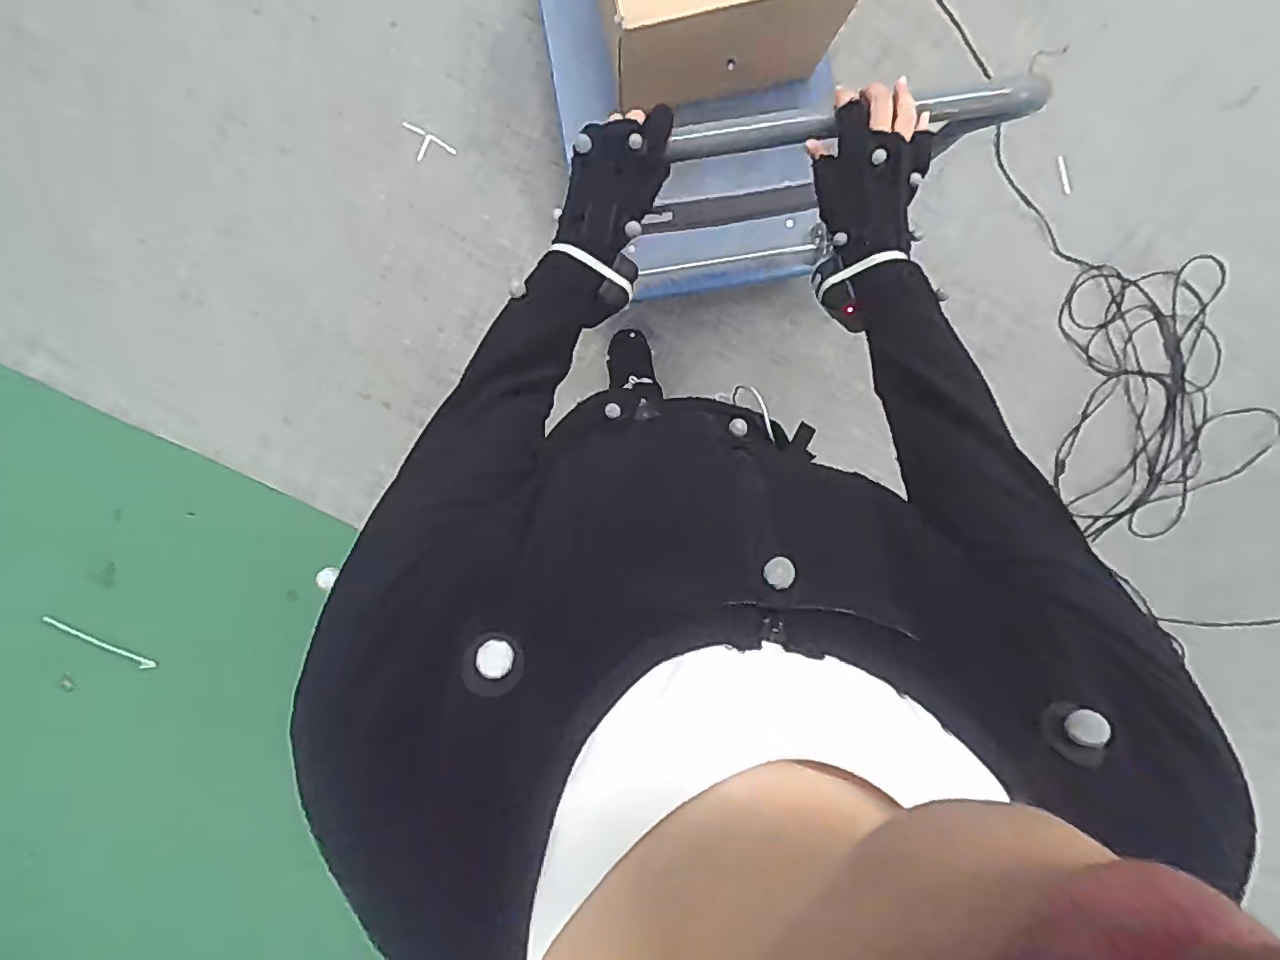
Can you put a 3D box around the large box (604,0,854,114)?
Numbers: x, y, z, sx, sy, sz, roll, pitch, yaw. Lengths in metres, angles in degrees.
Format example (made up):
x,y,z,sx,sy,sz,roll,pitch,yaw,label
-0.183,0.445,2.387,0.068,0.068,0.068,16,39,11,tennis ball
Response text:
x,y,z,sx,sy,sz,roll,pitch,yaw,label
0.135,-0.921,0.956,0.408,0.320,0.320,-12,101,2,large box
